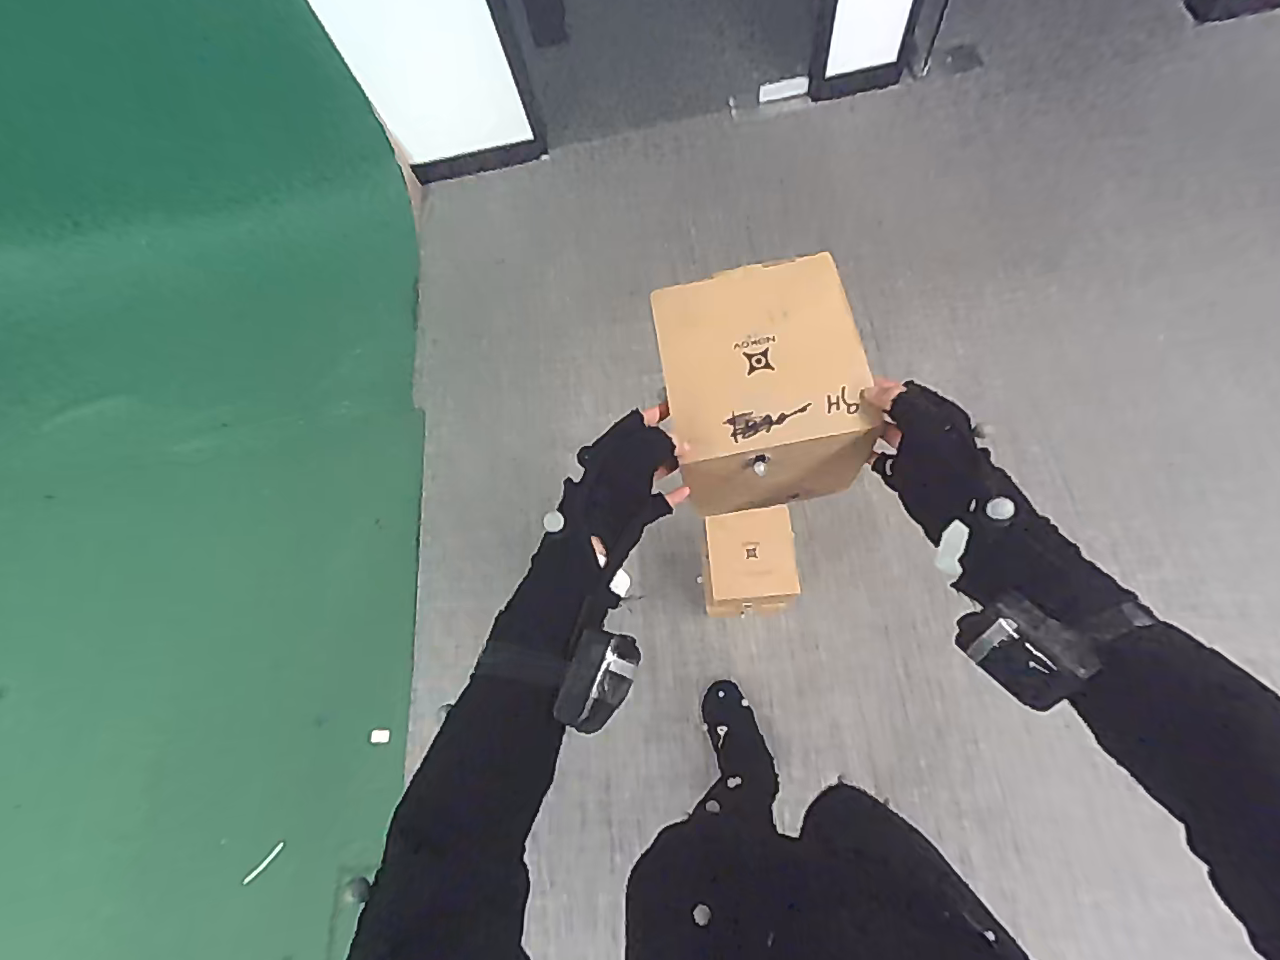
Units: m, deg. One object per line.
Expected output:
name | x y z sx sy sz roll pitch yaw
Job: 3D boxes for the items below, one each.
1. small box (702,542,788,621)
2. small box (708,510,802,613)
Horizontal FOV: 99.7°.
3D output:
small box | 0.243 0.239 1.275 0.179 0.176 0.168 -6 69 8
small box | 0.233 0.175 1.127 0.168 0.176 0.179 -7 70 8
